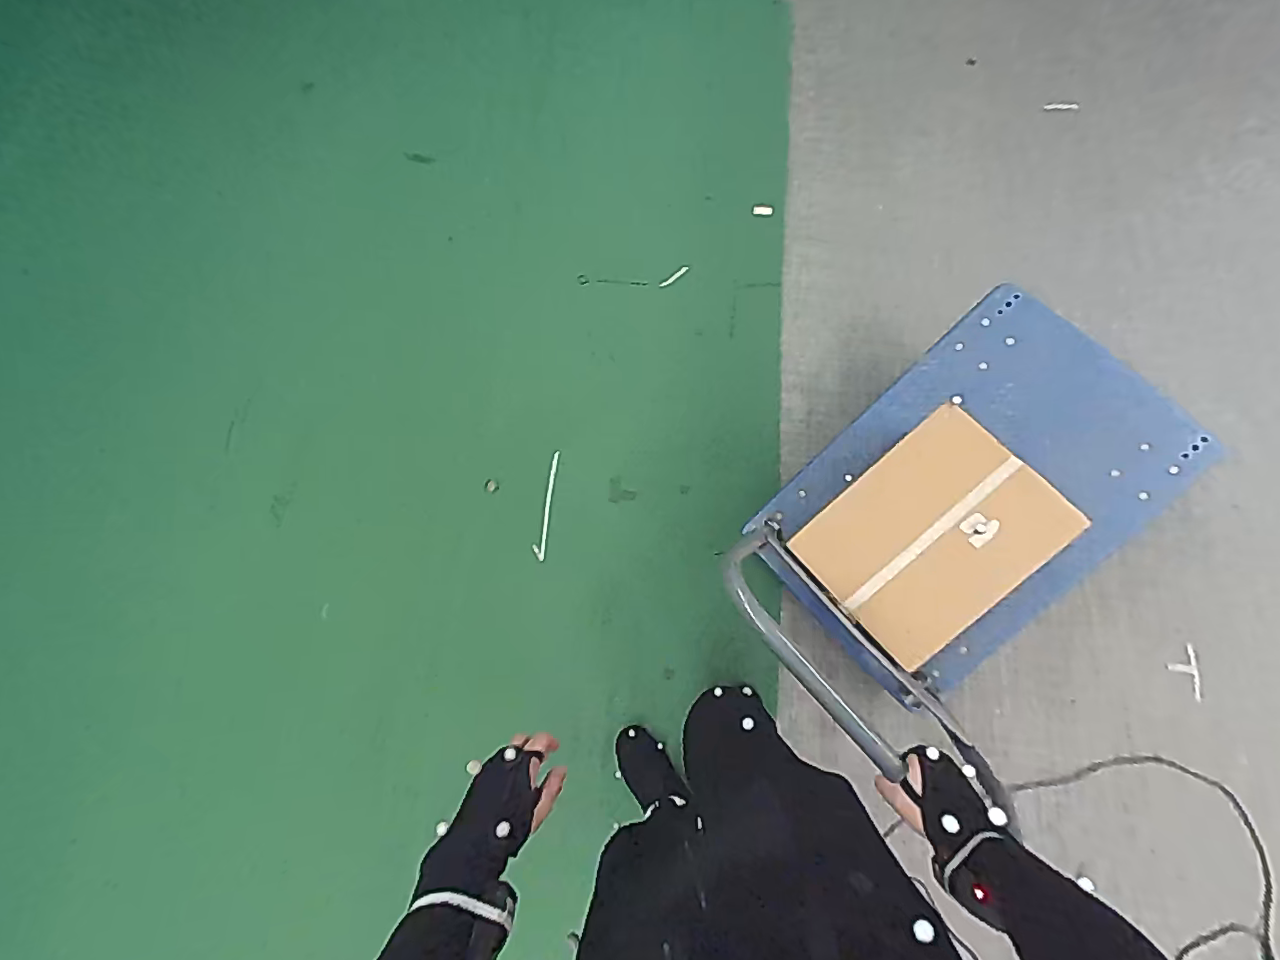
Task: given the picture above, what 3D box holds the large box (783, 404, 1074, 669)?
[{"bbox_3d":[0.554,0.120,1.137,0.408,0.320,0.320,-43,76,5],"label":"large box"}]
